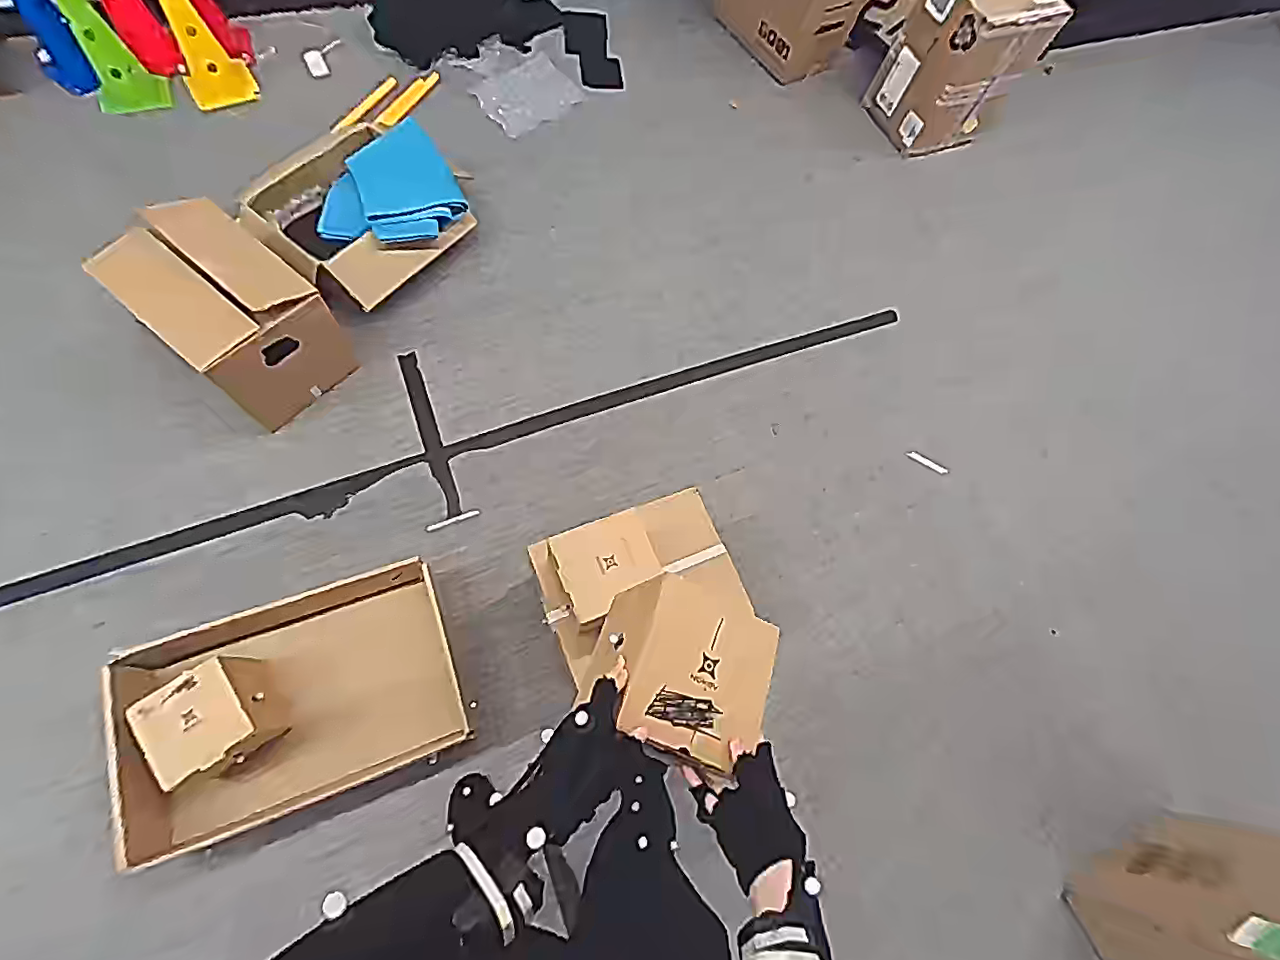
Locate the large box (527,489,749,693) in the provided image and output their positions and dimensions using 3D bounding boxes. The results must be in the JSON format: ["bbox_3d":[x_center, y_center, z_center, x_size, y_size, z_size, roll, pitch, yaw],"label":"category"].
[{"bbox_3d":[-0.025,0.272,1.282,0.408,0.320,0.320,-19,74,-16],"label":"large box"}]

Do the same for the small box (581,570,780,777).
[{"bbox_3d":[0.042,0.239,0.669,0.168,0.176,0.179,29,60,-13],"label":"small box"}]
